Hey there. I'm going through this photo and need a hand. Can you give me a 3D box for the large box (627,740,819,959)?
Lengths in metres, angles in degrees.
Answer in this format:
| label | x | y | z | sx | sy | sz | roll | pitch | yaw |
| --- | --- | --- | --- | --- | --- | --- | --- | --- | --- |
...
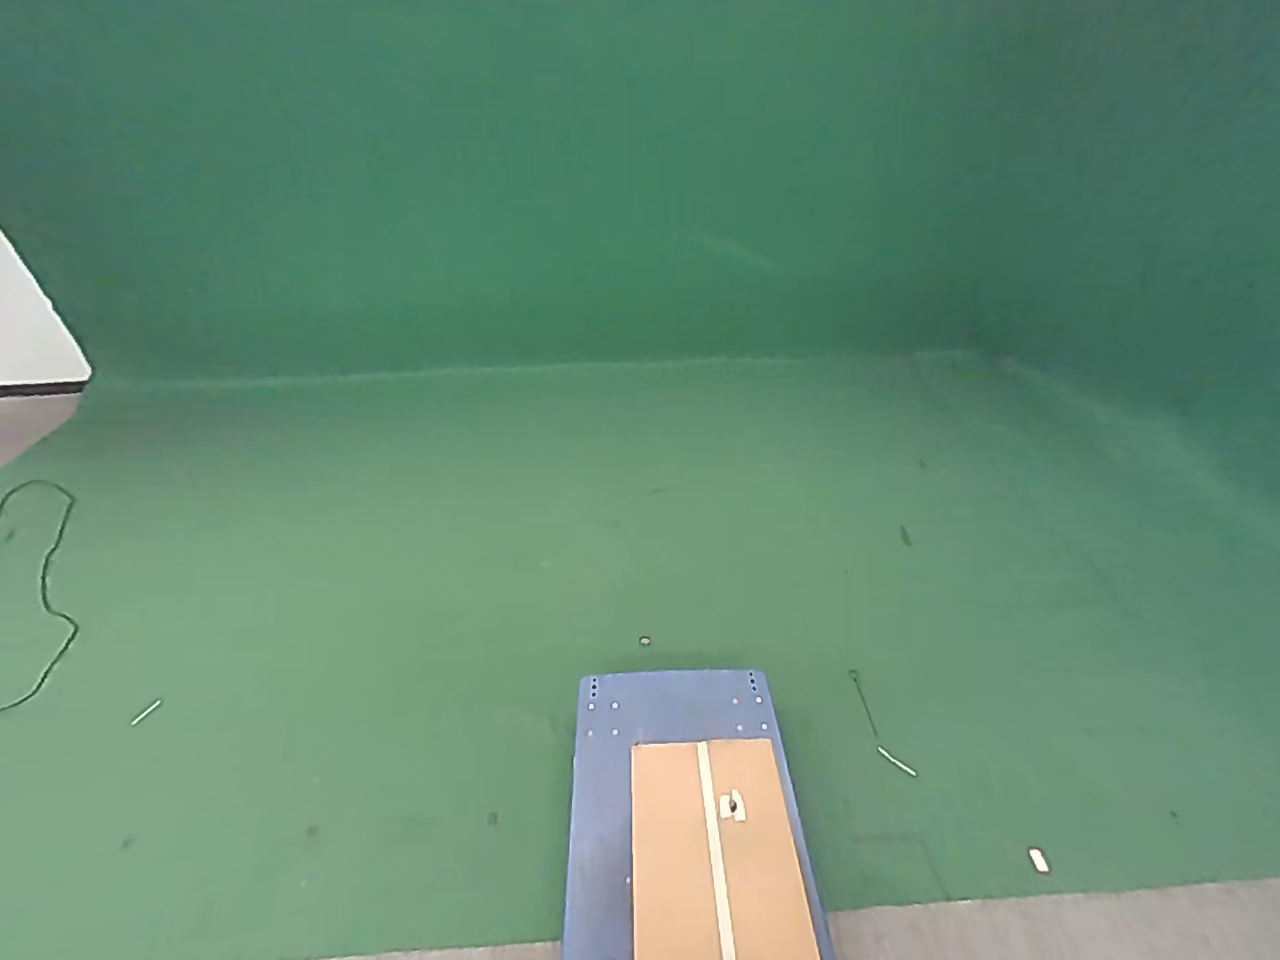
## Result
| label | x | y | z | sx | sy | sz | roll | pitch | yaw |
| --- | --- | --- | --- | --- | --- | --- | --- | --- | --- |
| large box | 0.140 | 0.823 | 1.126 | 0.320 | 0.320 | 0.408 | -2 | 36 | -2 |
